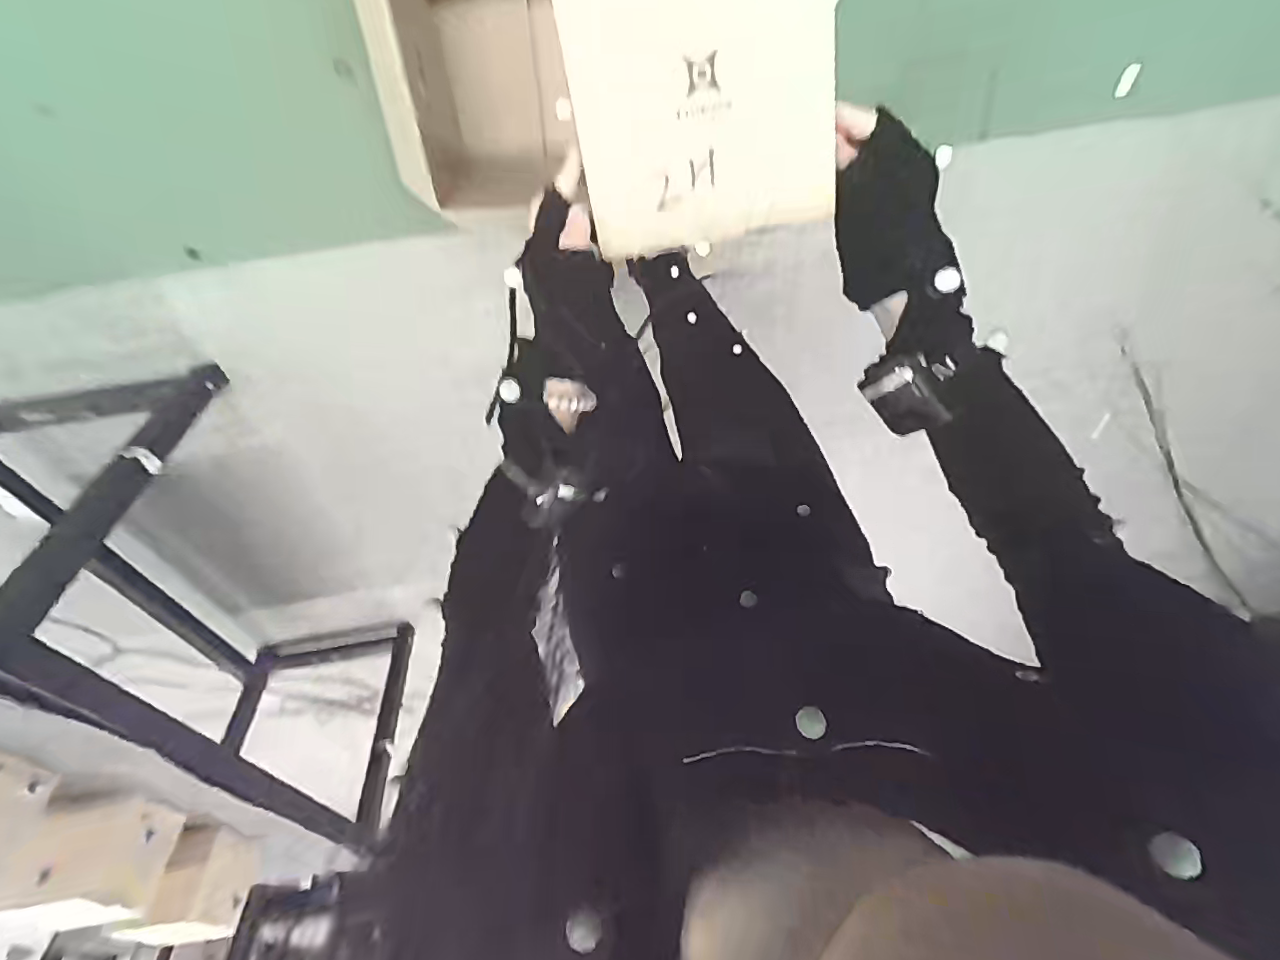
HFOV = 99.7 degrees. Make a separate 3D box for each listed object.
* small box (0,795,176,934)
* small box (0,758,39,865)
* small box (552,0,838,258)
[{"bbox_3d":[-1.047,0.722,1.018,0.179,0.176,0.168,-10,133,0],"label":"small box"},{"bbox_3d":[-1.097,0.525,0.821,0.179,0.176,0.168,-10,134,1],"label":"small box"},{"bbox_3d":[0.038,-0.275,0.401,0.168,0.176,0.179,-8,117,5],"label":"small box"}]
